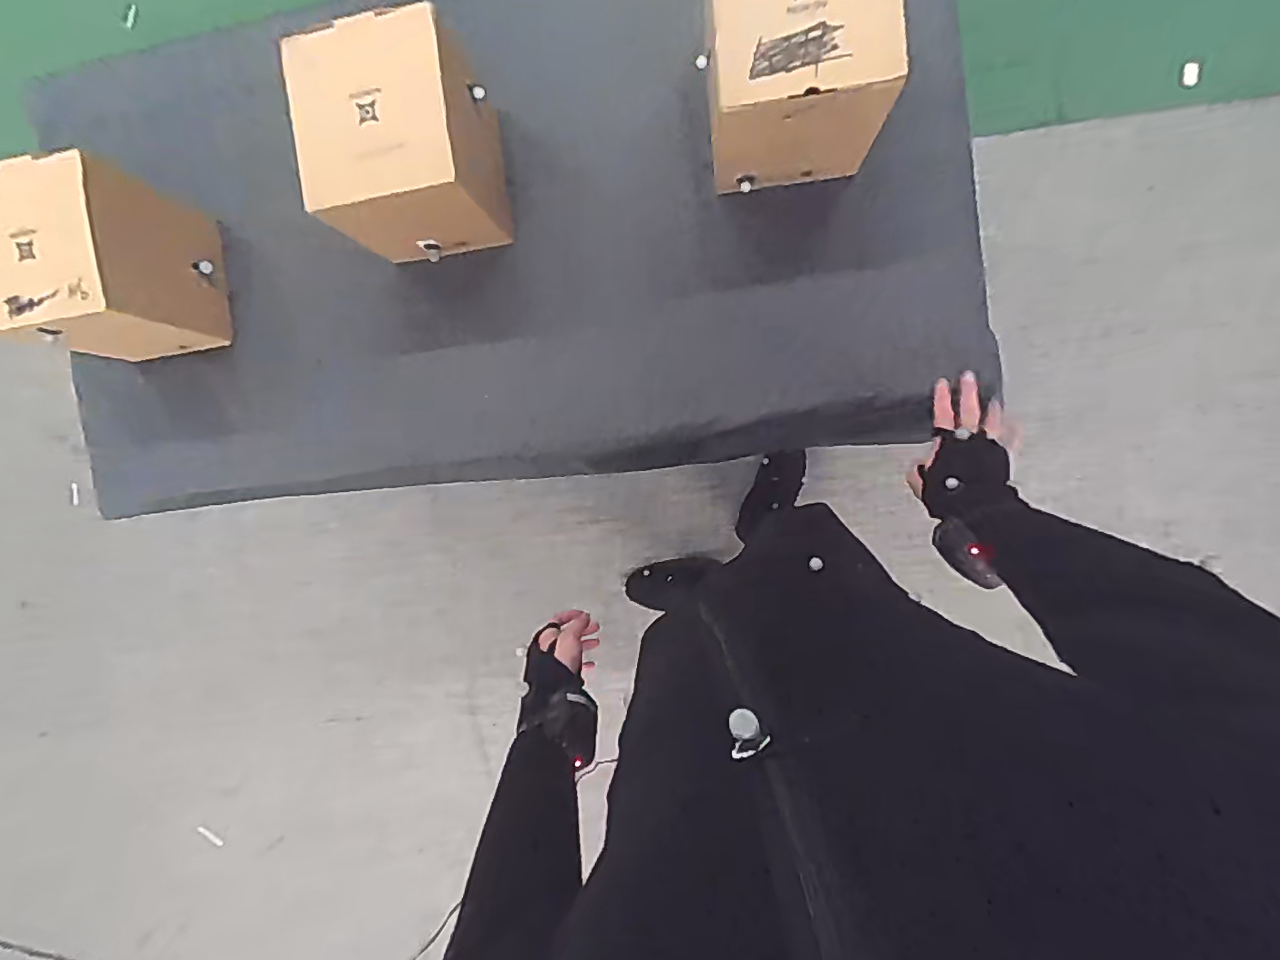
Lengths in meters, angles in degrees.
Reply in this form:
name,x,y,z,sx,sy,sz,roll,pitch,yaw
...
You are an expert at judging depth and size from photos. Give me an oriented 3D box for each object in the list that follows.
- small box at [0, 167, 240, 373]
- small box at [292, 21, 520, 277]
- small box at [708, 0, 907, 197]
name,x,y,z,sx,sy,sz,roll,pitch,yaw
small box,-0.641,-0.242,0.666,0.168,0.176,0.179,-8,90,7
small box,-0.252,-0.357,0.620,0.168,0.176,0.179,-8,93,8
small box,0.160,-0.421,0.565,0.168,0.176,0.179,-5,91,7
